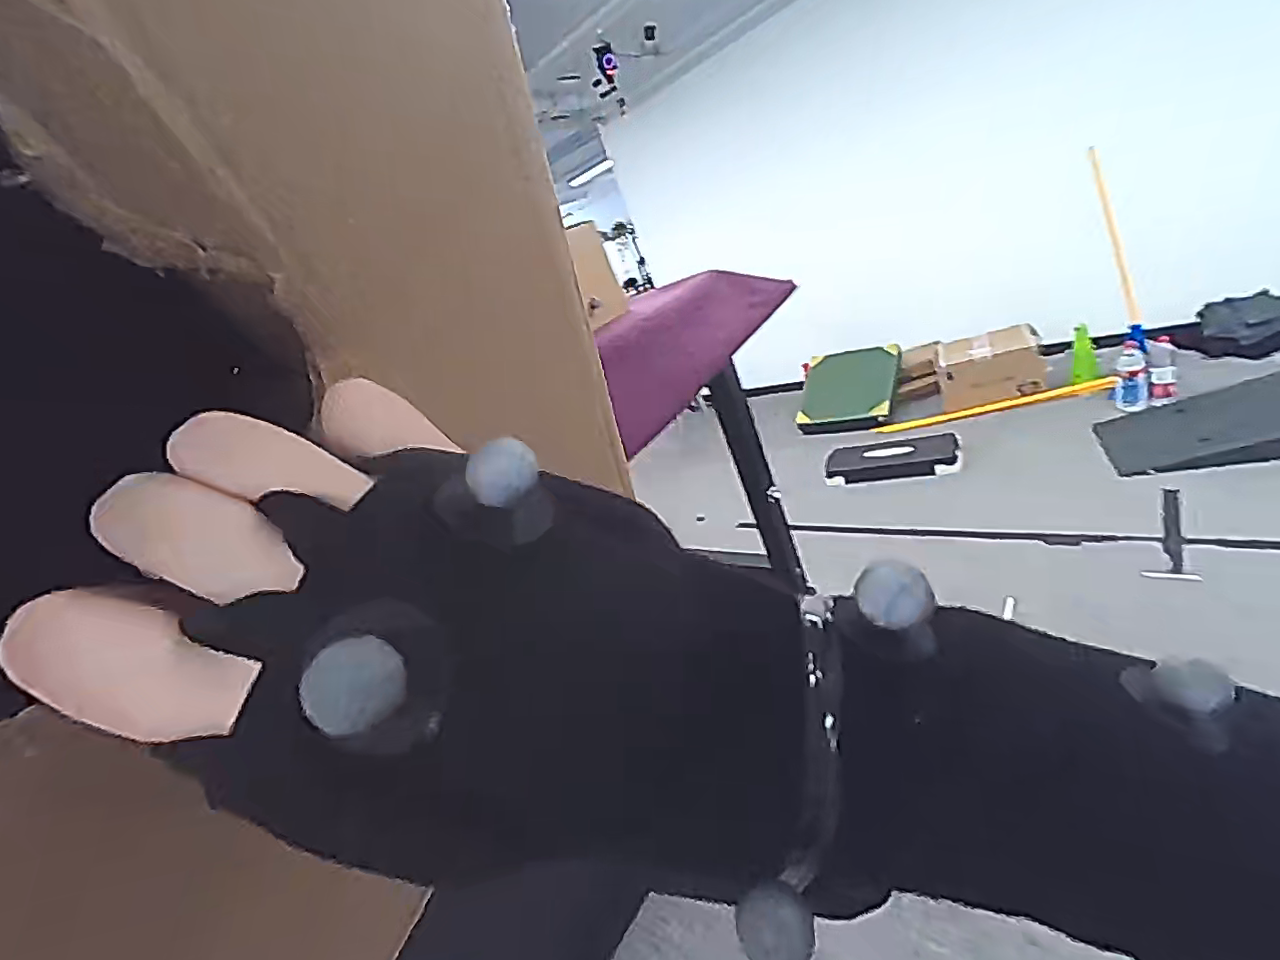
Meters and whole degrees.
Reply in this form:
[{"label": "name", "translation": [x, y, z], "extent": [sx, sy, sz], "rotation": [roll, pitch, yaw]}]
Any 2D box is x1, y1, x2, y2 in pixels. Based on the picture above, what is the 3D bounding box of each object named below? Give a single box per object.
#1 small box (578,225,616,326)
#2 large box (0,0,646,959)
[{"label": "small box", "translation": [-0.163, -0.326, 0.963], "extent": [0.168, 0.176, 0.179], "rotation": [-4, 29, 42]}, {"label": "large box", "translation": [-0.253, -0.009, 0.217], "extent": [0.408, 0.320, 0.320], "rotation": [15, 57, 22]}]
